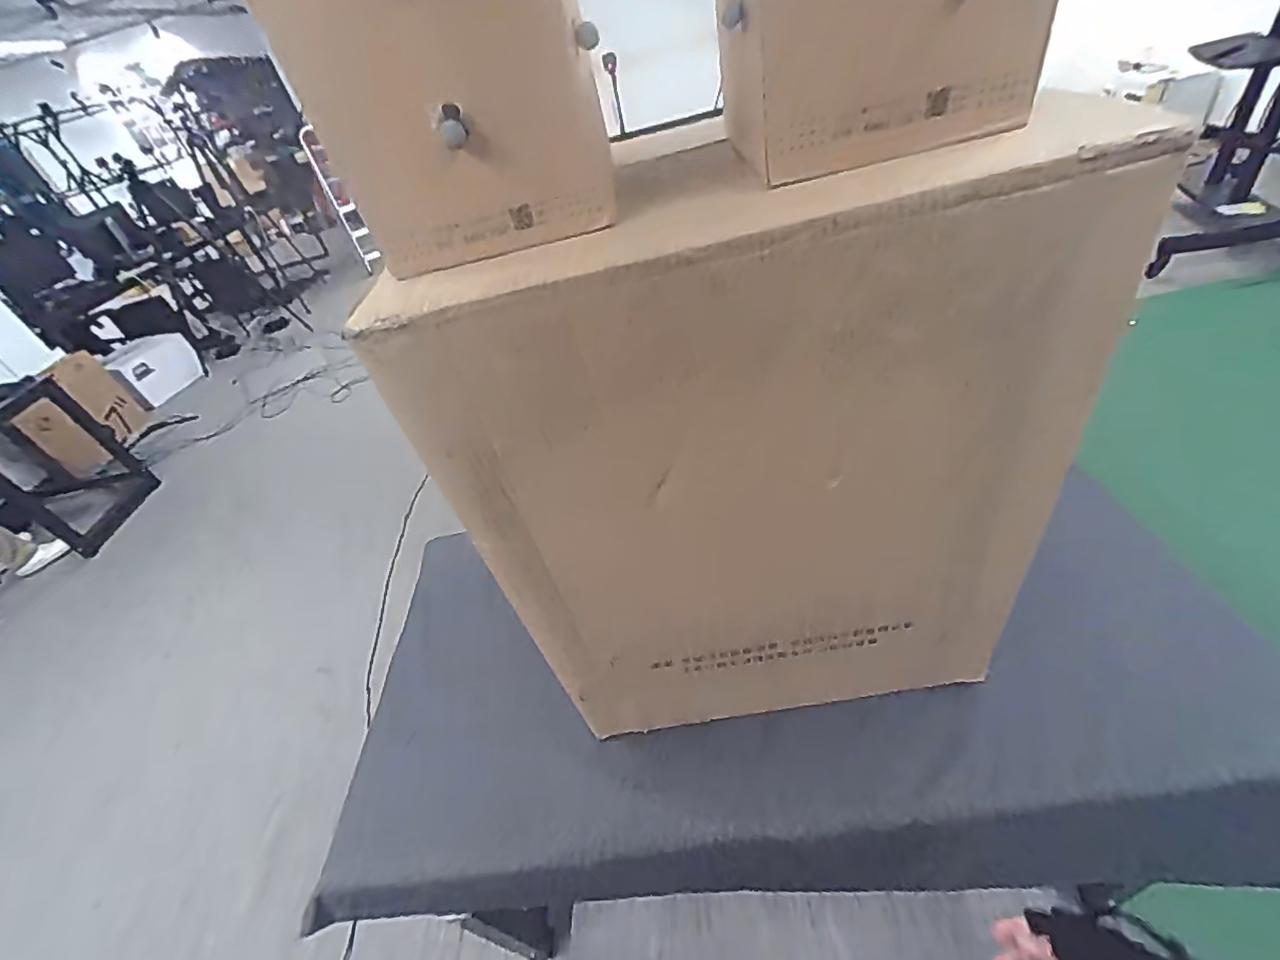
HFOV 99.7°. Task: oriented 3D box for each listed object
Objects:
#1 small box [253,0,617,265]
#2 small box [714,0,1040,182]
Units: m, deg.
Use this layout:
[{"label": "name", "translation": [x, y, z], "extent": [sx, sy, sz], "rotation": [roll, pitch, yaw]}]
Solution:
[{"label": "small box", "translation": [-0.114, -0.272, 0.389], "extent": [0.168, 0.176, 0.179], "rotation": [-10, 43, 5]}, {"label": "small box", "translation": [0.145, -0.317, 0.363], "extent": [0.168, 0.176, 0.179], "rotation": [-9, 41, 4]}]
